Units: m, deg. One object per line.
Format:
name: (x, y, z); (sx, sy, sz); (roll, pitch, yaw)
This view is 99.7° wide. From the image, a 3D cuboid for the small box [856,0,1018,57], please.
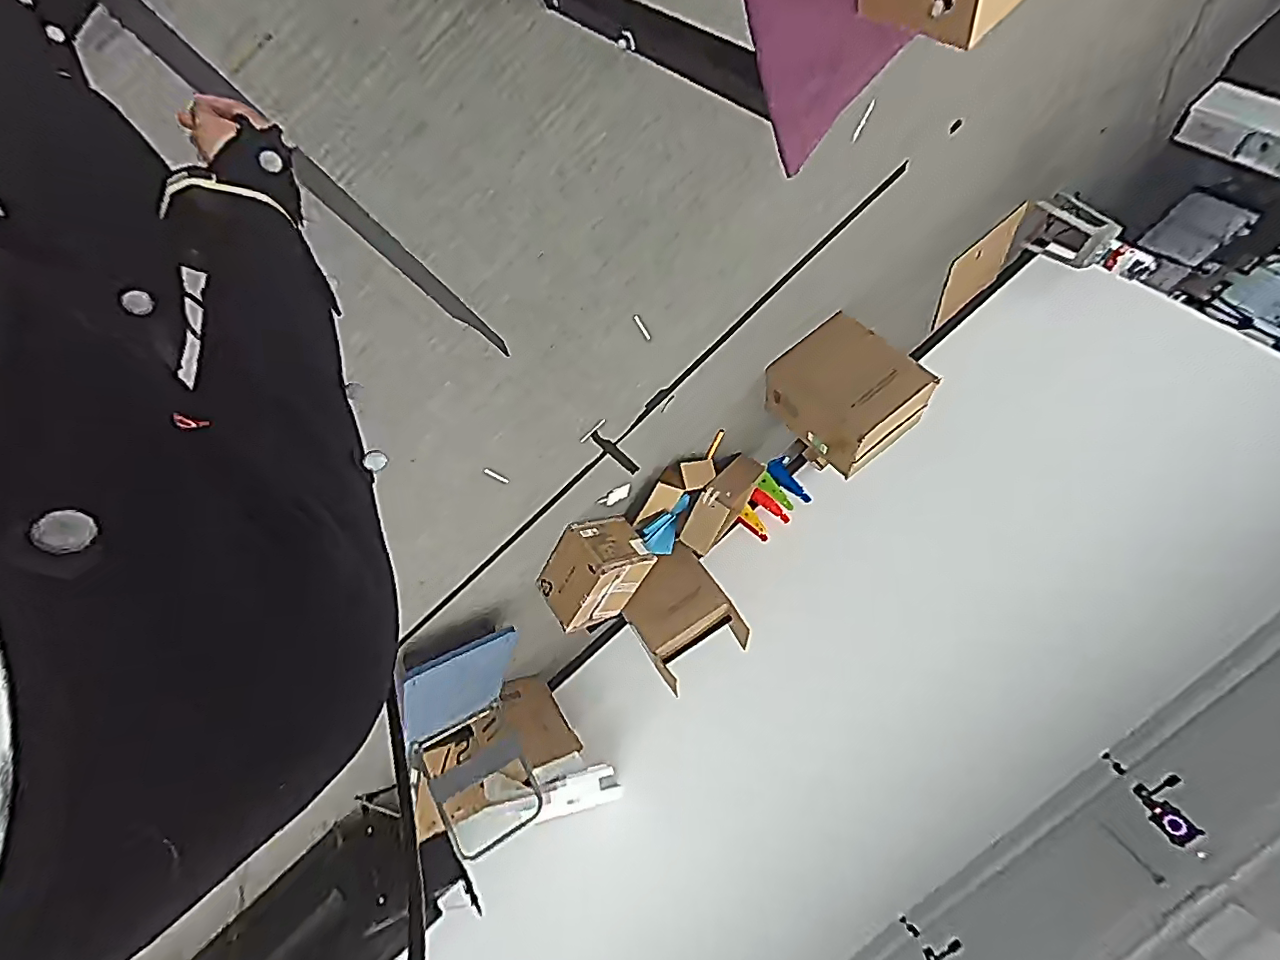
small box: (0.361, -0.640, 0.605); (0.168, 0.176, 0.179); (-44, 153, 1)
